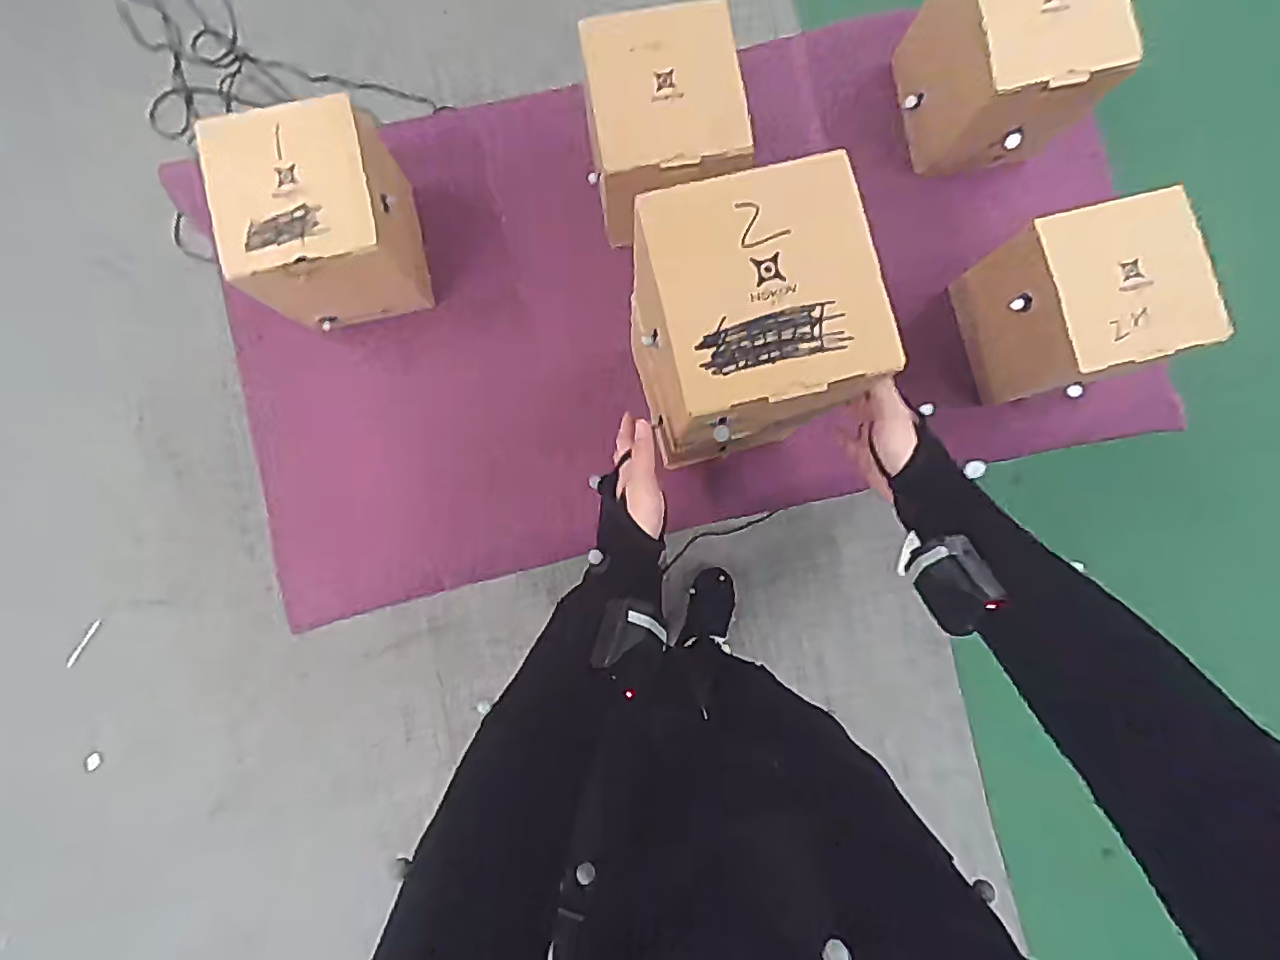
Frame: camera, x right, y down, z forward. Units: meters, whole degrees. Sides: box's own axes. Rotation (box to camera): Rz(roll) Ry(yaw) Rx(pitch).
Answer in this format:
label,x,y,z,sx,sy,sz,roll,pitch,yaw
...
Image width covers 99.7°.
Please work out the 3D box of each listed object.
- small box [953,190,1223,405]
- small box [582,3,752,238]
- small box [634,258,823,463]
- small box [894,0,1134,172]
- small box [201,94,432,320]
label,x,y,z,sx,sy,sz,roll,pitch,yaw
small box,0.515,-0.206,0.652,0.168,0.176,0.179,-13,86,0
small box,0.028,-0.419,0.664,0.168,0.176,0.179,-9,87,-2
small box,0.091,-0.129,0.647,0.168,0.176,0.179,-15,86,-2
small box,0.445,-0.513,0.671,0.168,0.176,0.179,-11,90,-1
small box,-0.368,-0.307,0.649,0.168,0.176,0.179,-12,86,-2
